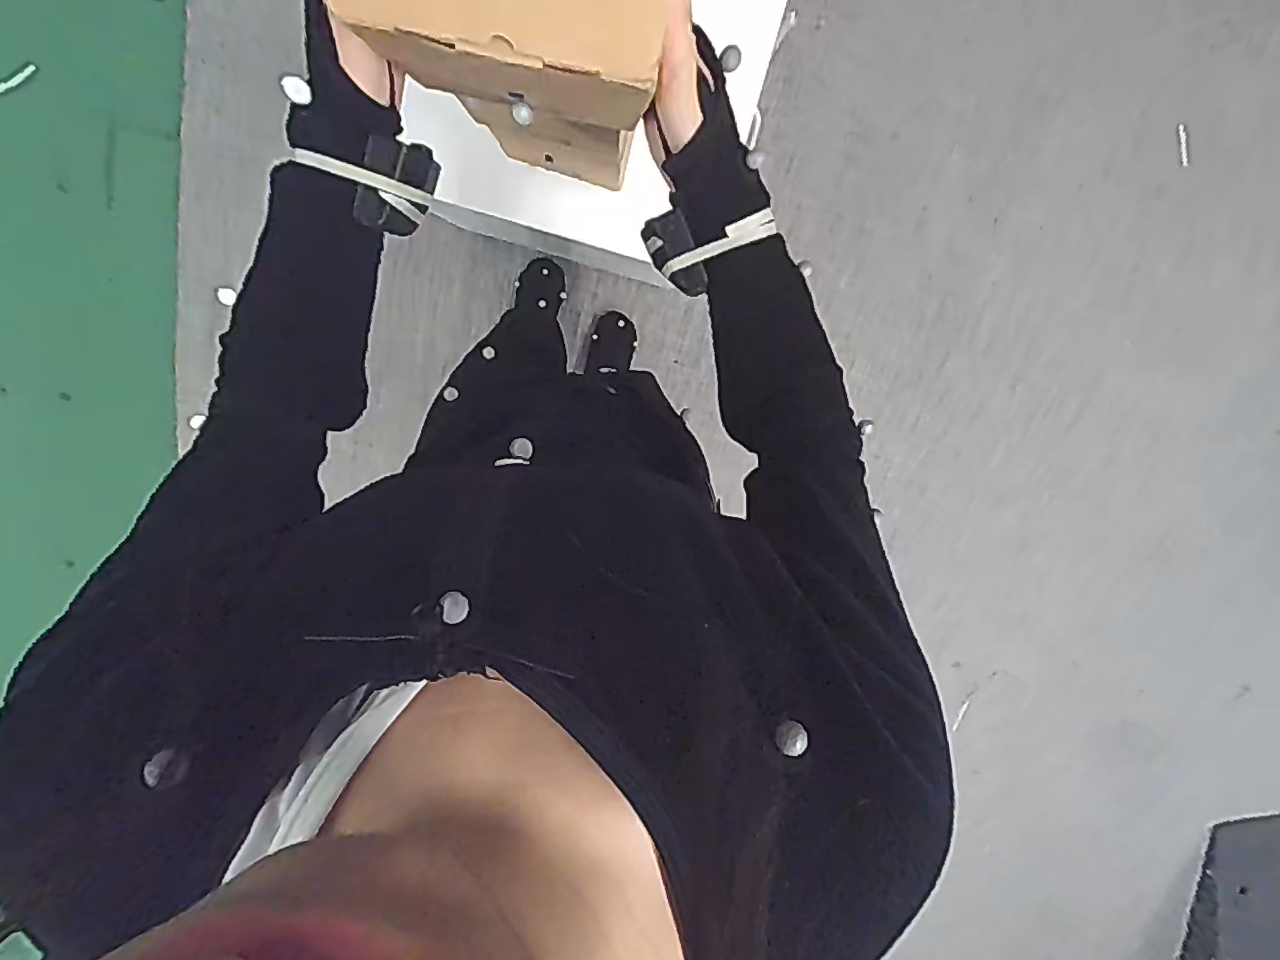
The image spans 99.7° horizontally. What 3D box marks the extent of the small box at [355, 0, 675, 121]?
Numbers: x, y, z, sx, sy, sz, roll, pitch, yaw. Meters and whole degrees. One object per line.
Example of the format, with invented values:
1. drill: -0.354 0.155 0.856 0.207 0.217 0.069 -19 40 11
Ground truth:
1. small box: -0.060 -0.334 0.308 0.168 0.176 0.179 7 115 -8

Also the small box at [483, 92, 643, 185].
1. small box: -0.077 -0.487 0.653 0.168 0.176 0.179 13 107 -7
